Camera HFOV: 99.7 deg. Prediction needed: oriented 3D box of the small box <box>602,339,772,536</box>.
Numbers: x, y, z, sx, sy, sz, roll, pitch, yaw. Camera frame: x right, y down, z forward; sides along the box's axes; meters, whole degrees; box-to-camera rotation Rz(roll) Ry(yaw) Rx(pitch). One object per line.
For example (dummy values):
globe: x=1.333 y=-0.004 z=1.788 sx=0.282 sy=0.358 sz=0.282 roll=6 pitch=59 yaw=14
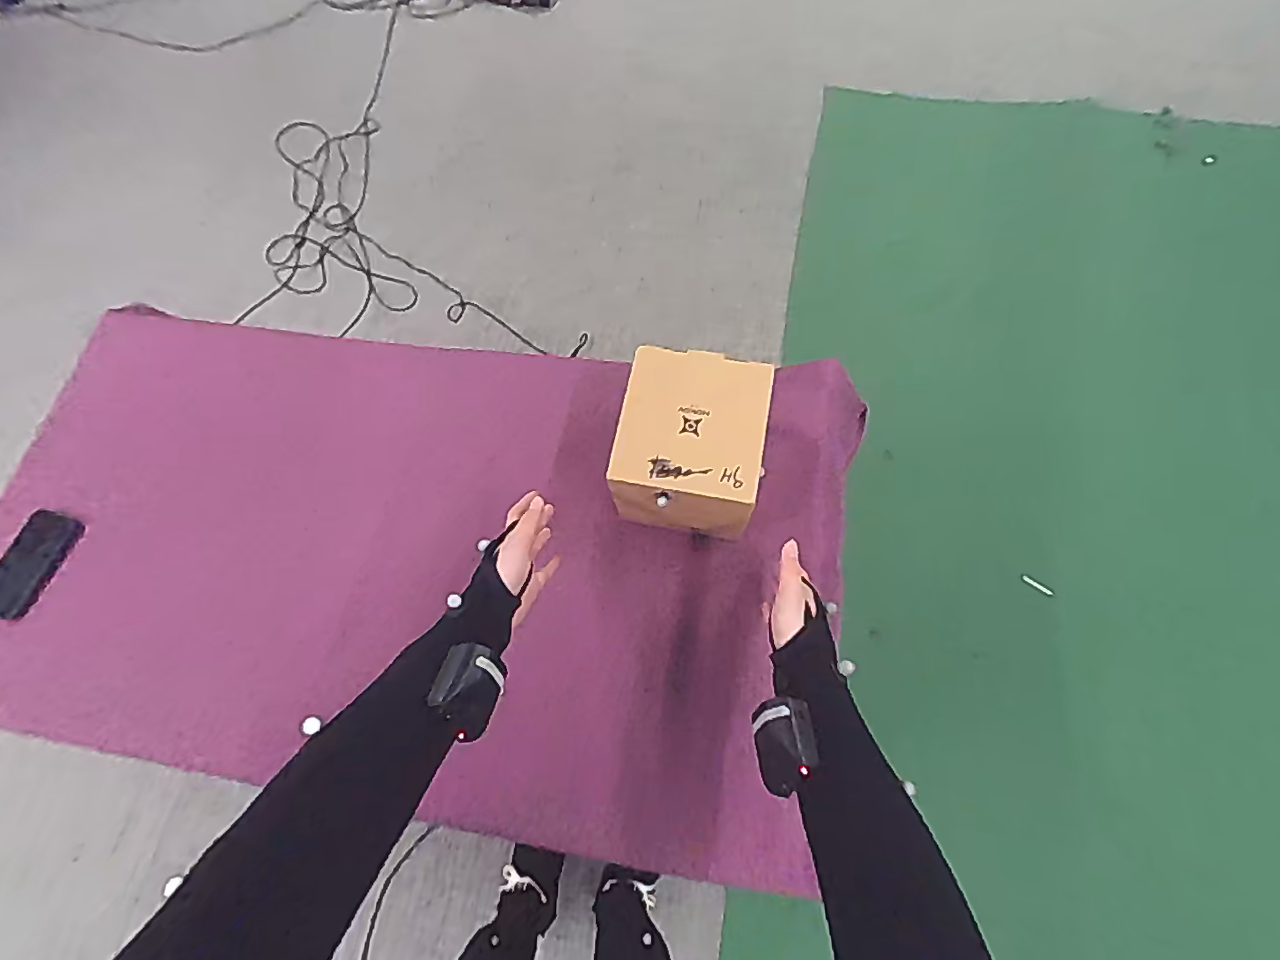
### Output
small box: x=0.060 y=-0.046 z=0.677 sx=0.168 sy=0.176 sz=0.179 roll=10 pitch=71 yaw=8
